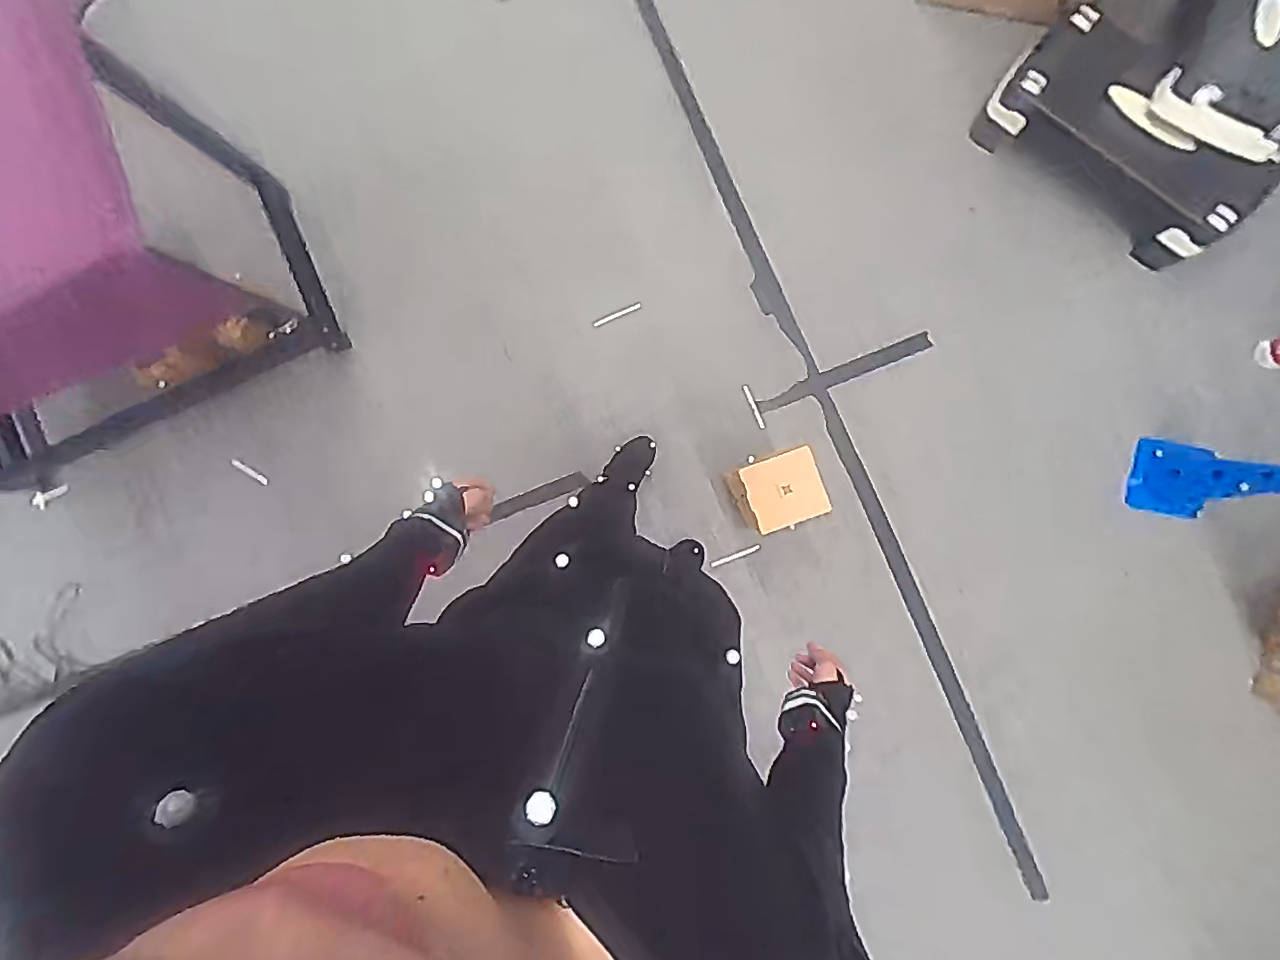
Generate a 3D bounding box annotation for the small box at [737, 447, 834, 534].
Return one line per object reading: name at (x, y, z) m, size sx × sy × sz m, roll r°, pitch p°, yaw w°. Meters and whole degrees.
small box at (0.354, 0.022, 1.348) m, size 0.179 × 0.176 × 0.168 m, roll -20°, pitch 89°, yaw 6°

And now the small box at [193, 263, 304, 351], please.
small box at (-1.184, -0.516, 1.646) m, size 0.179 × 0.176 × 0.168 m, roll 39°, pitch 94°, yaw 4°

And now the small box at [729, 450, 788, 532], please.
small box at (0.359, 0.027, 1.511) m, size 0.168 × 0.176 × 0.179 m, roll -24°, pitch 88°, yaw 5°
